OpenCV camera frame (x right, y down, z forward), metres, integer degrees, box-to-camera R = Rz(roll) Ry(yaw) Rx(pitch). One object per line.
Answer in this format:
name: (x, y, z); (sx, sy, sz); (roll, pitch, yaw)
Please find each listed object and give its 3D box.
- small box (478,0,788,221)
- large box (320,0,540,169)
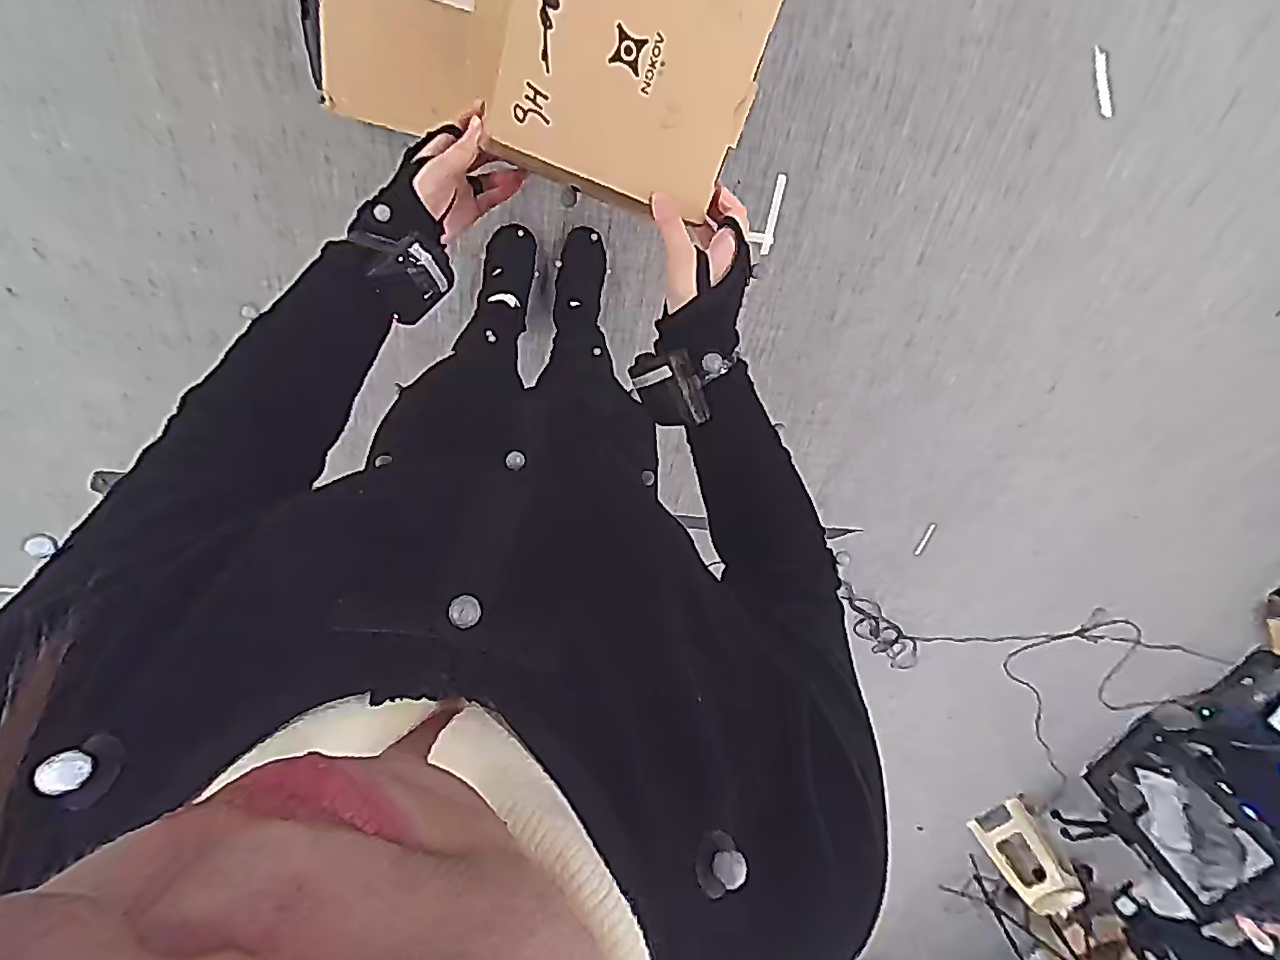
small box: (-0.021, -0.329, 0.432); (0.179, 0.176, 0.168); (11, 112, -25)
large box: (-0.191, -0.655, 0.783); (0.408, 0.320, 0.320); (8, 120, -13)
